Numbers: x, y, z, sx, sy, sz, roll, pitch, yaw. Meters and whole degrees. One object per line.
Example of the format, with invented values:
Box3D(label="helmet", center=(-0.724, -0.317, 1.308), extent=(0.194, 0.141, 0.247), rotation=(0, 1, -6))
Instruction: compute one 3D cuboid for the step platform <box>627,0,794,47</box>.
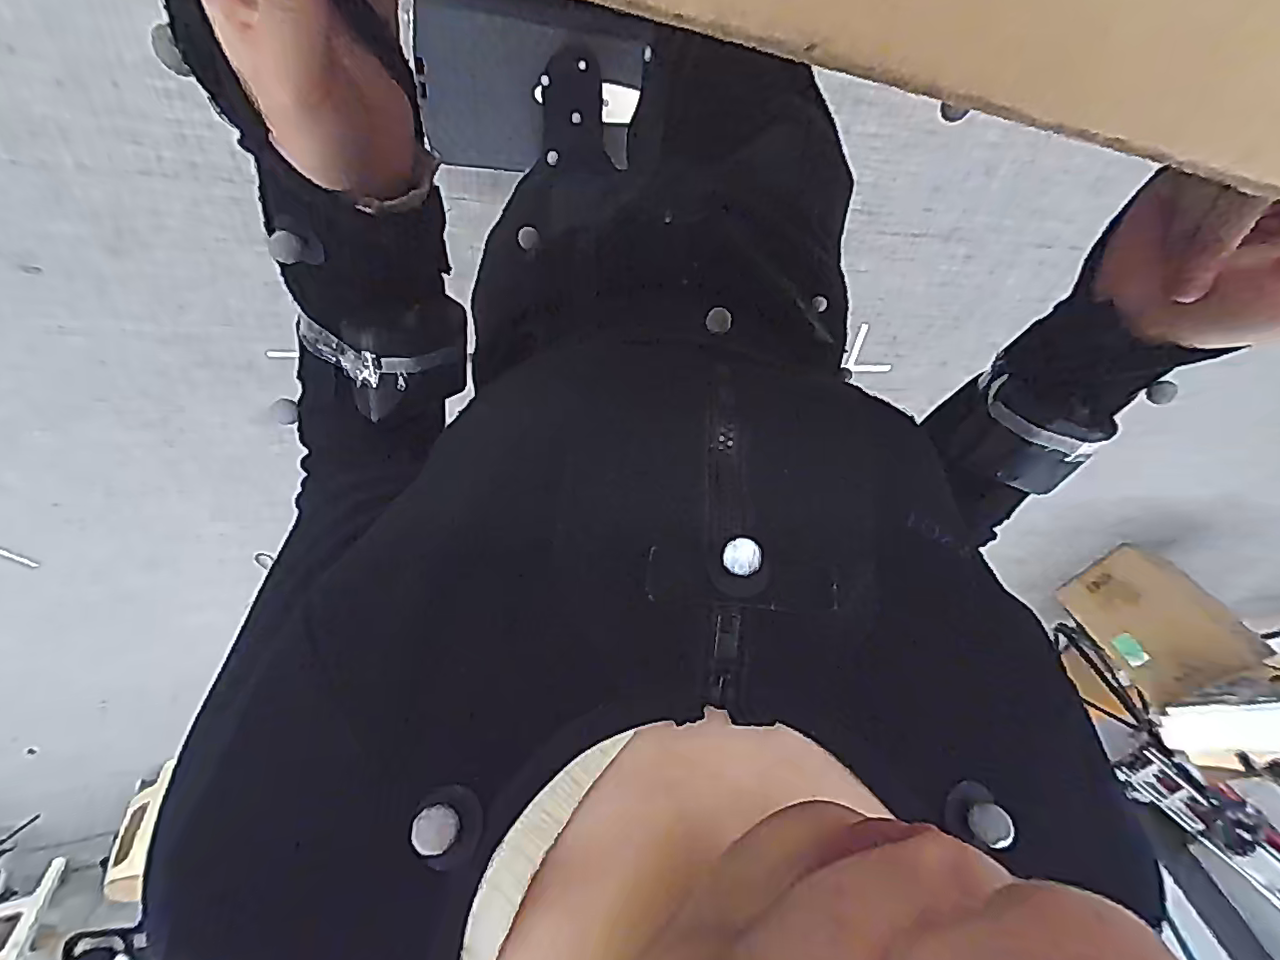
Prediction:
Box3D(label="step platform", center=(-0.023, -0.932, 0.833), extent=(0.684, 0.204, 0.286), rotation=(3, 131, -16))
